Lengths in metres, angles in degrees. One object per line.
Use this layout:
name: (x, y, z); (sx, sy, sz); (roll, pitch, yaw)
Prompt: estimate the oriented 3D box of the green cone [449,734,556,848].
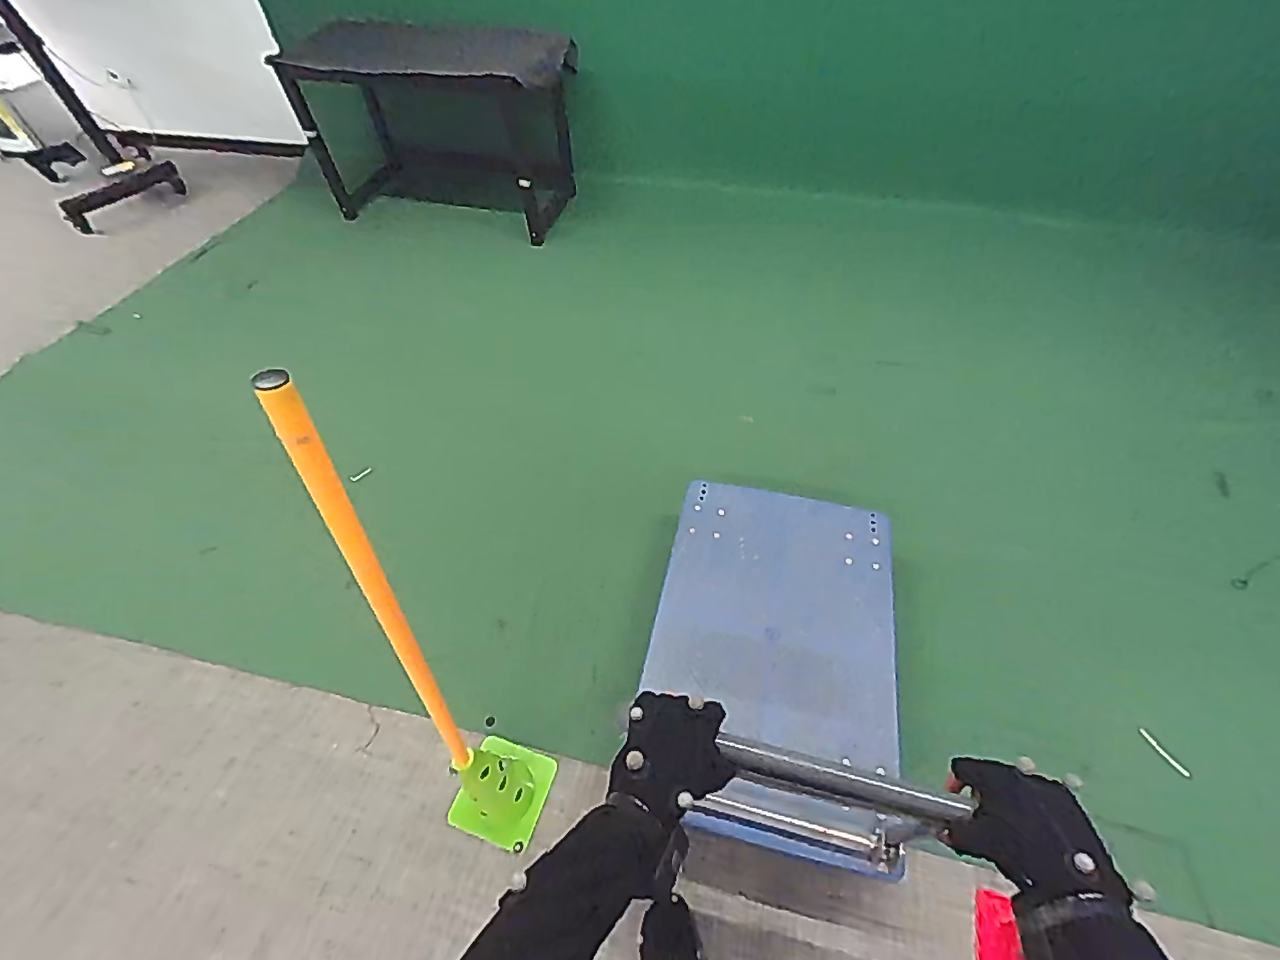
green cone: (-0.327, 0.622, 1.149); (0.202, 0.368, 0.200); (14, 52, 13)
